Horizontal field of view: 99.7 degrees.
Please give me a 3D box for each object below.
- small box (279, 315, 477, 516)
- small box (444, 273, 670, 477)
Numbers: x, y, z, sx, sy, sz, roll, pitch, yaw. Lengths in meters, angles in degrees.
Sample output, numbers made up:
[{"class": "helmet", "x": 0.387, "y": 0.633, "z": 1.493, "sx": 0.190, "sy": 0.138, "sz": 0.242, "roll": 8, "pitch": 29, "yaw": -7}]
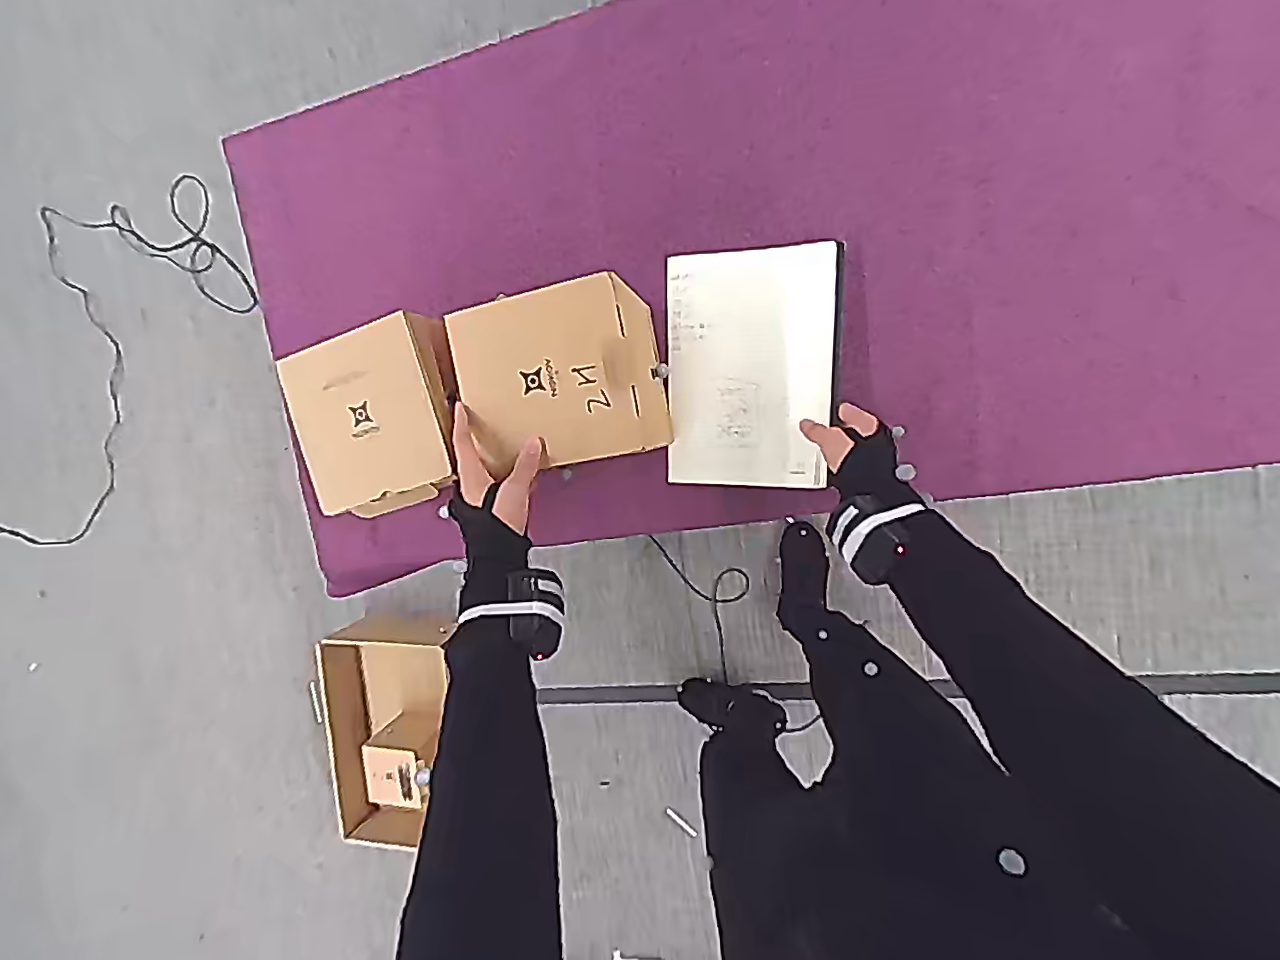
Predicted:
[{"class": "small box", "x": -0.267, "y": -0.073, "z": 0.638, "sx": 0.168, "sy": 0.176, "sz": 0.179, "roll": -16, "pitch": 93, "yaw": 13}, {"class": "small box", "x": -0.077, "y": -0.101, "z": 0.587, "sx": 0.179, "sy": 0.176, "sz": 0.168, "roll": -10, "pitch": 94, "yaw": 13}]
